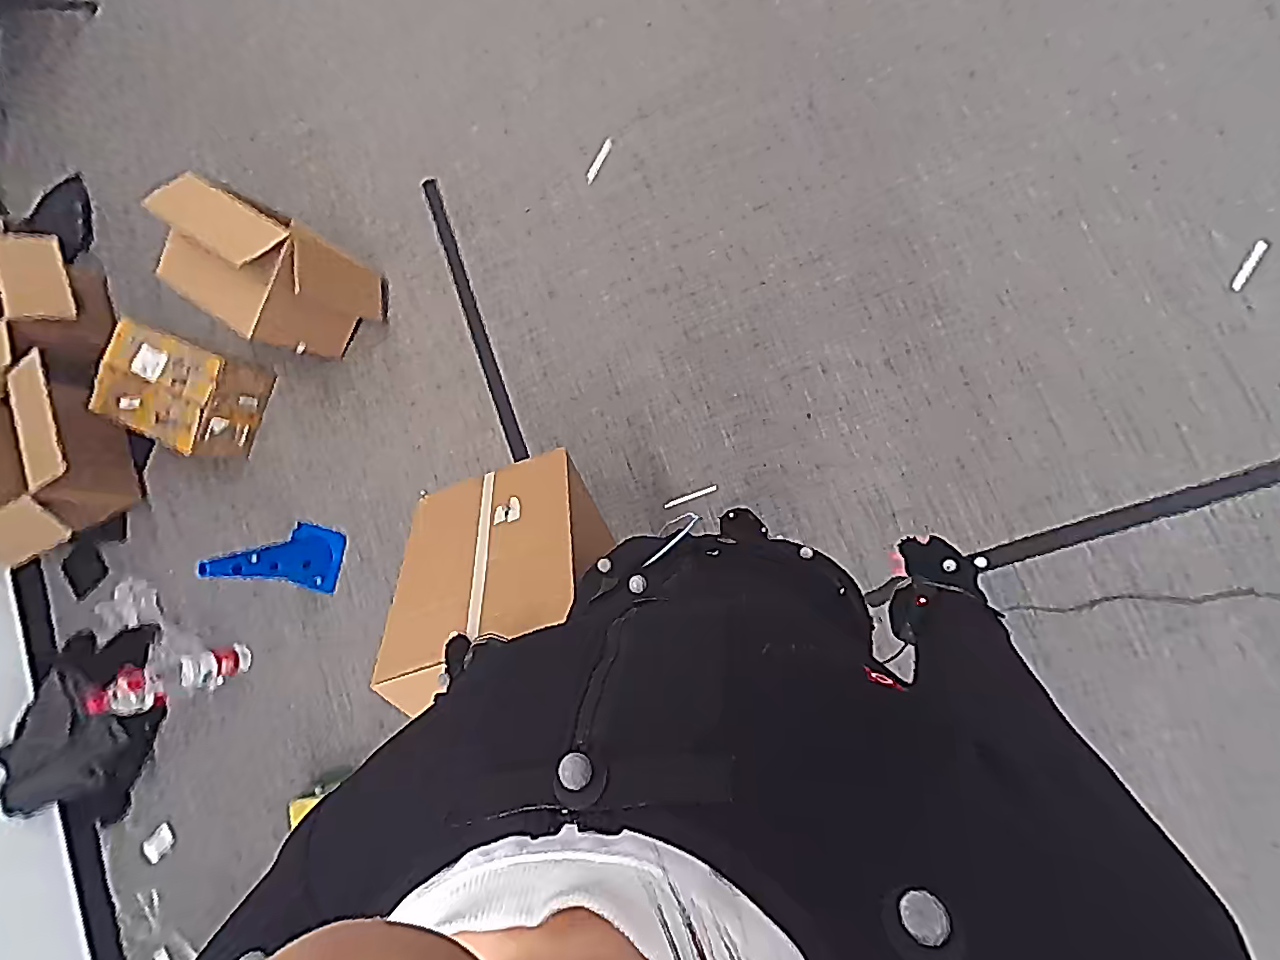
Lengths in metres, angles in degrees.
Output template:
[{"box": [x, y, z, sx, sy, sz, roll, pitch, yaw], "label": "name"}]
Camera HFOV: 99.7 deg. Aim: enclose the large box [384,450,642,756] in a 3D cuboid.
[{"box": [-0.208, 0.218, 1.002, 0.320, 0.320, 0.408, -17, 40, 5], "label": "large box"}]
